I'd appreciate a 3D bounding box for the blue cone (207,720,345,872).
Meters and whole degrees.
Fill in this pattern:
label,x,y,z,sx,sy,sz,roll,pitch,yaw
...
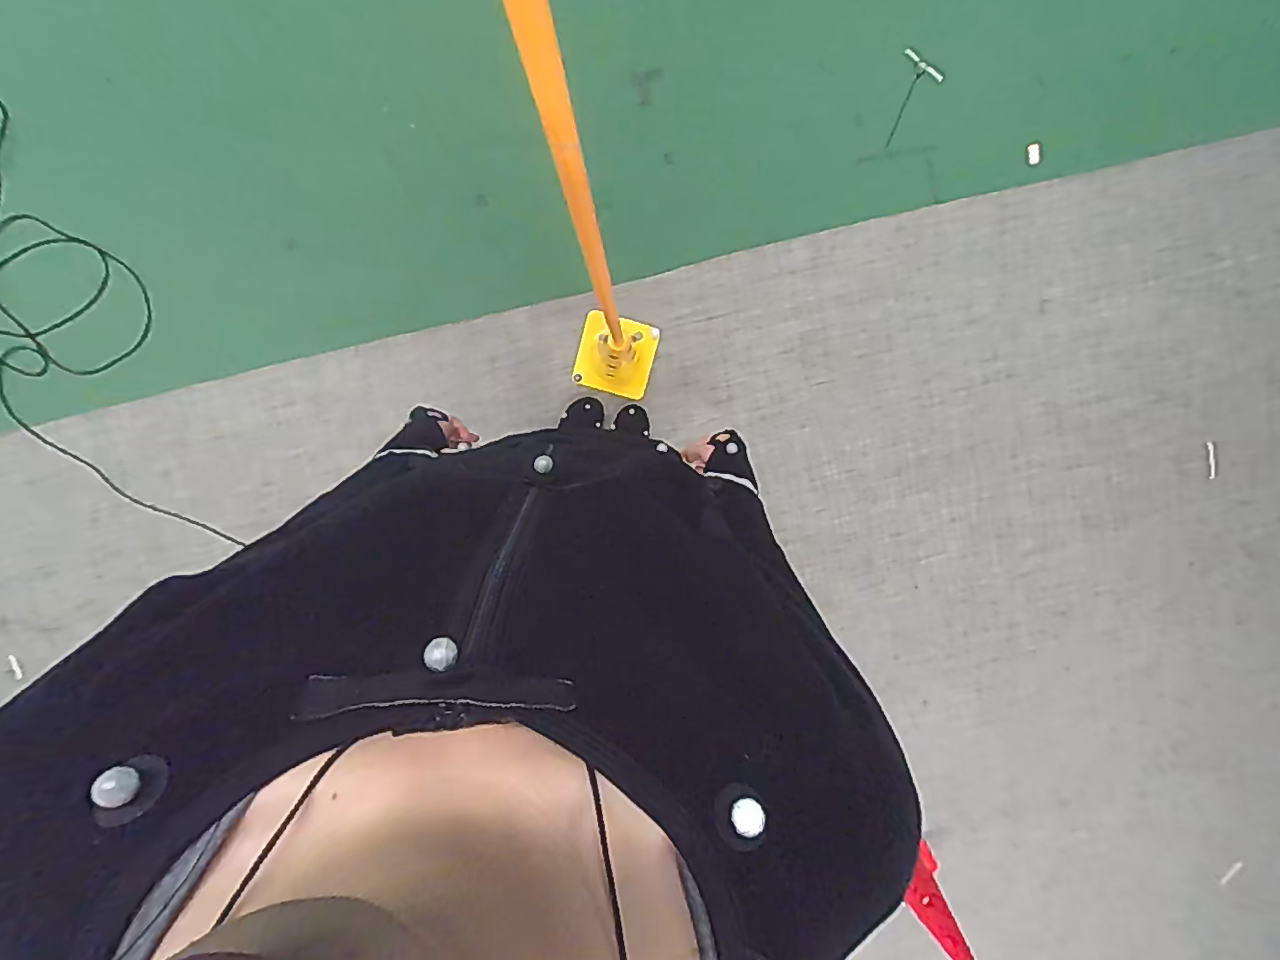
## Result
label,x,y,z,sx,sy,sz,roll,pitch,yaw
blue cone,-0.944,0.822,1.381,0.192,0.380,0.193,30,98,-8
